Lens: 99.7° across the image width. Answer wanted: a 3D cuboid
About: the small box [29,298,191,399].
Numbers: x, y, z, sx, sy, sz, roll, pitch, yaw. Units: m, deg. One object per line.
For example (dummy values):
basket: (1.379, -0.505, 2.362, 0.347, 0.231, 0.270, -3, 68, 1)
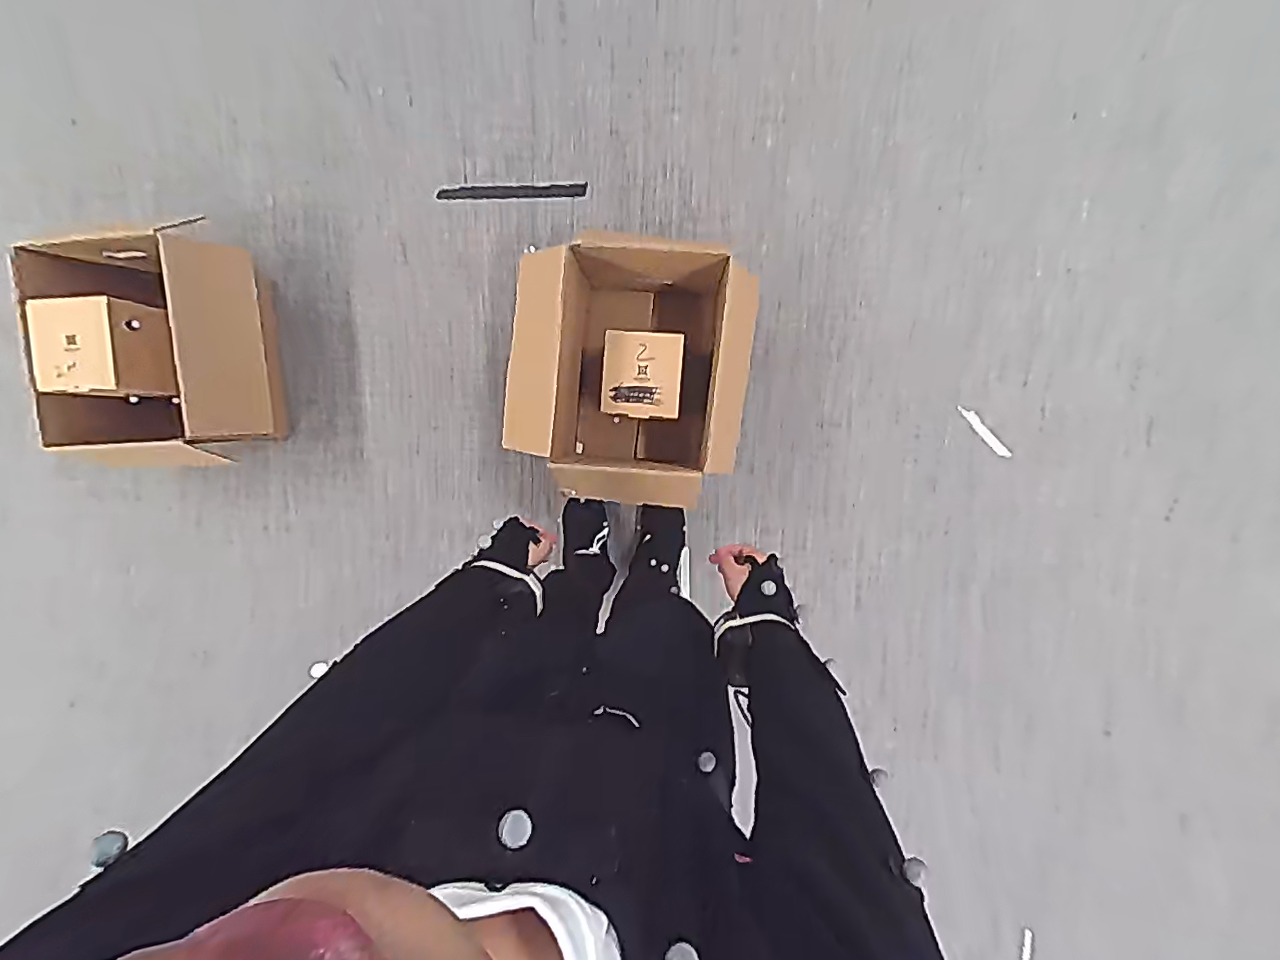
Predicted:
small box: (-1.068, -0.261, 1.104, 0.168, 0.176, 0.179, -1, 95, 4)
